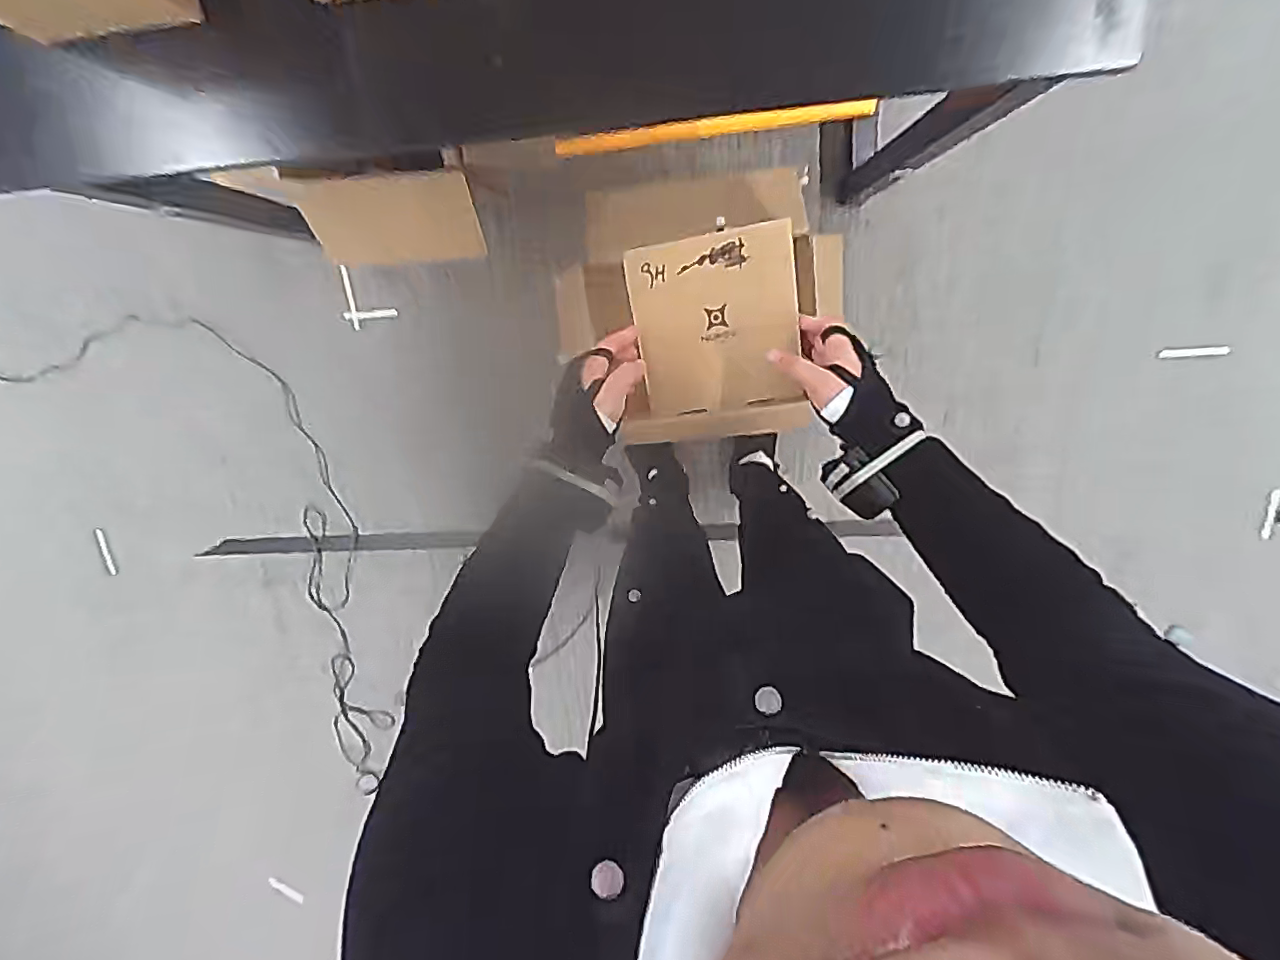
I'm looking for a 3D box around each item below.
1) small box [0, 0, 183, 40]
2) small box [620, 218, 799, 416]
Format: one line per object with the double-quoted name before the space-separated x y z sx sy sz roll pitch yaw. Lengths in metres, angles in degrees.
"small box" -0.531 -0.508 0.447 0.179 0.176 0.168 -5 105 4
"small box" 0.080 -0.191 0.618 0.168 0.176 0.179 -8 114 7
